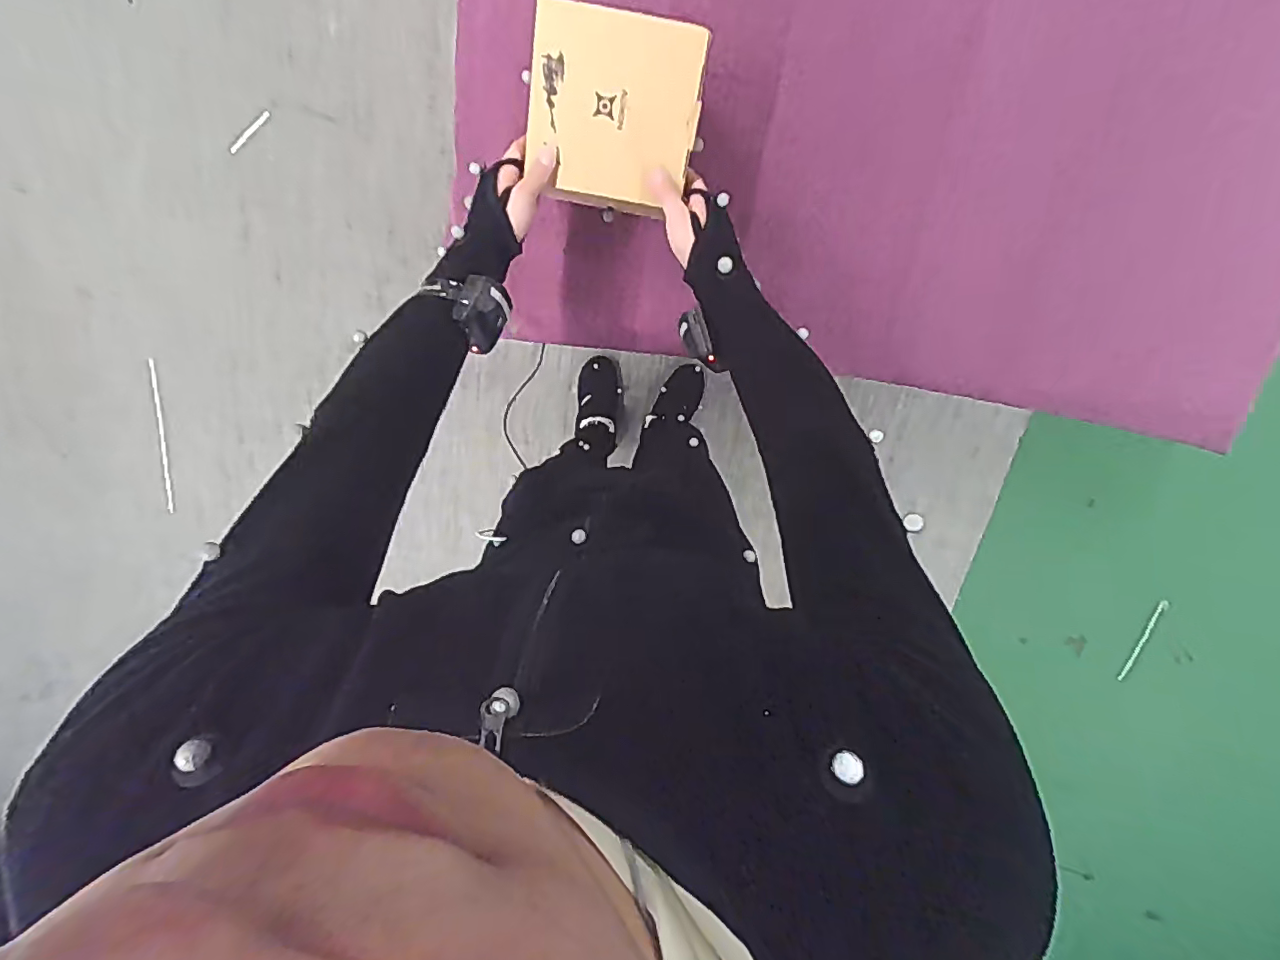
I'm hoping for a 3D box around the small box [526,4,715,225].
[{"bbox_3d":[-0.025,-0.404,0.634,0.179,0.176,0.168,9,111,-4],"label":"small box"}]
